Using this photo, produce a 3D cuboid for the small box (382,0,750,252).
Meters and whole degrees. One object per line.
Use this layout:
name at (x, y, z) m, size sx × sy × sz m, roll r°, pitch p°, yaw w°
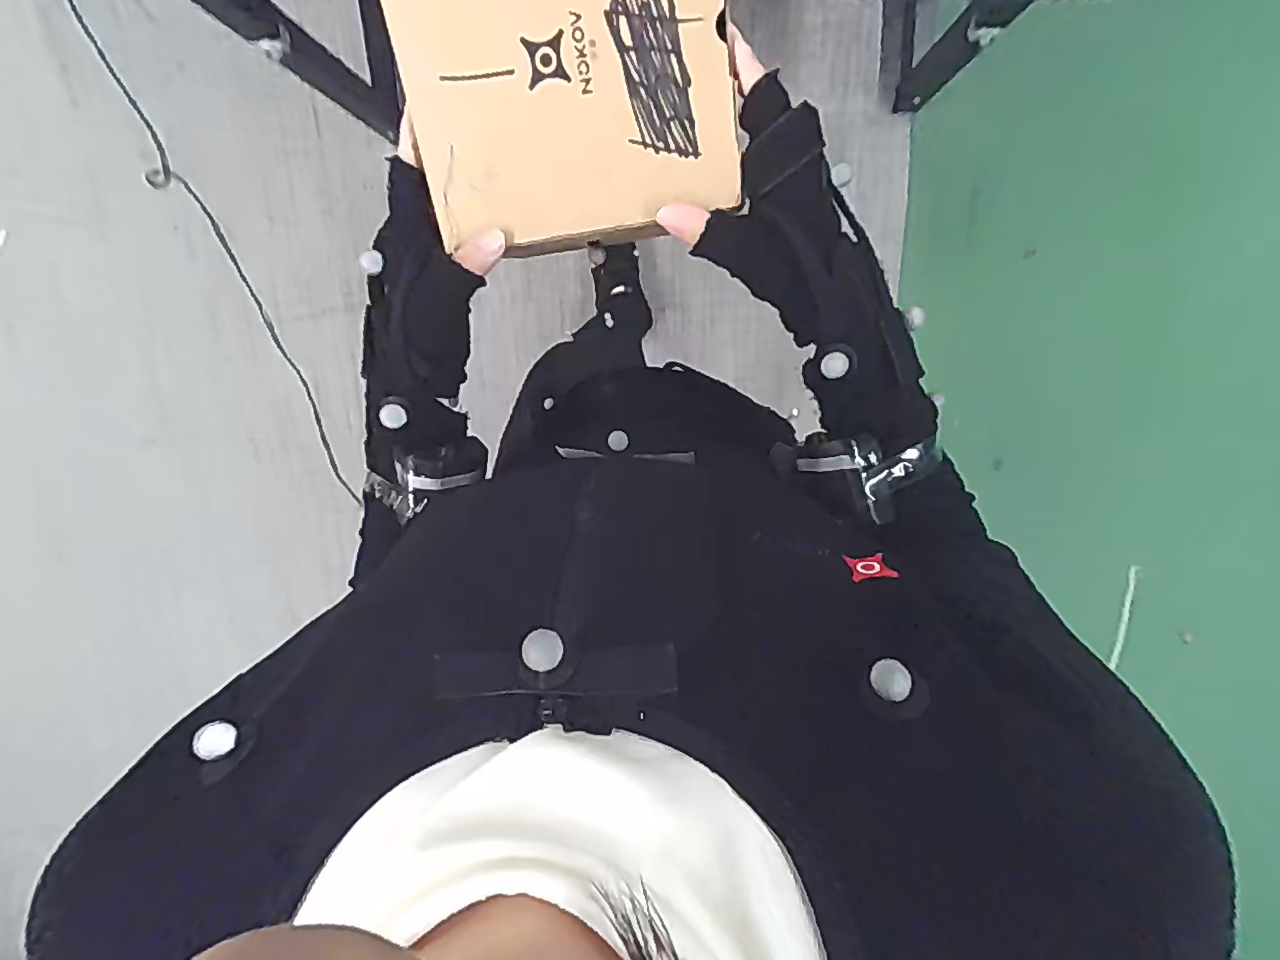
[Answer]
small box at (-0.036, -0.253, 0.352) m, size 0.179 × 0.176 × 0.168 m, roll -9°, pitch 112°, yaw 6°
